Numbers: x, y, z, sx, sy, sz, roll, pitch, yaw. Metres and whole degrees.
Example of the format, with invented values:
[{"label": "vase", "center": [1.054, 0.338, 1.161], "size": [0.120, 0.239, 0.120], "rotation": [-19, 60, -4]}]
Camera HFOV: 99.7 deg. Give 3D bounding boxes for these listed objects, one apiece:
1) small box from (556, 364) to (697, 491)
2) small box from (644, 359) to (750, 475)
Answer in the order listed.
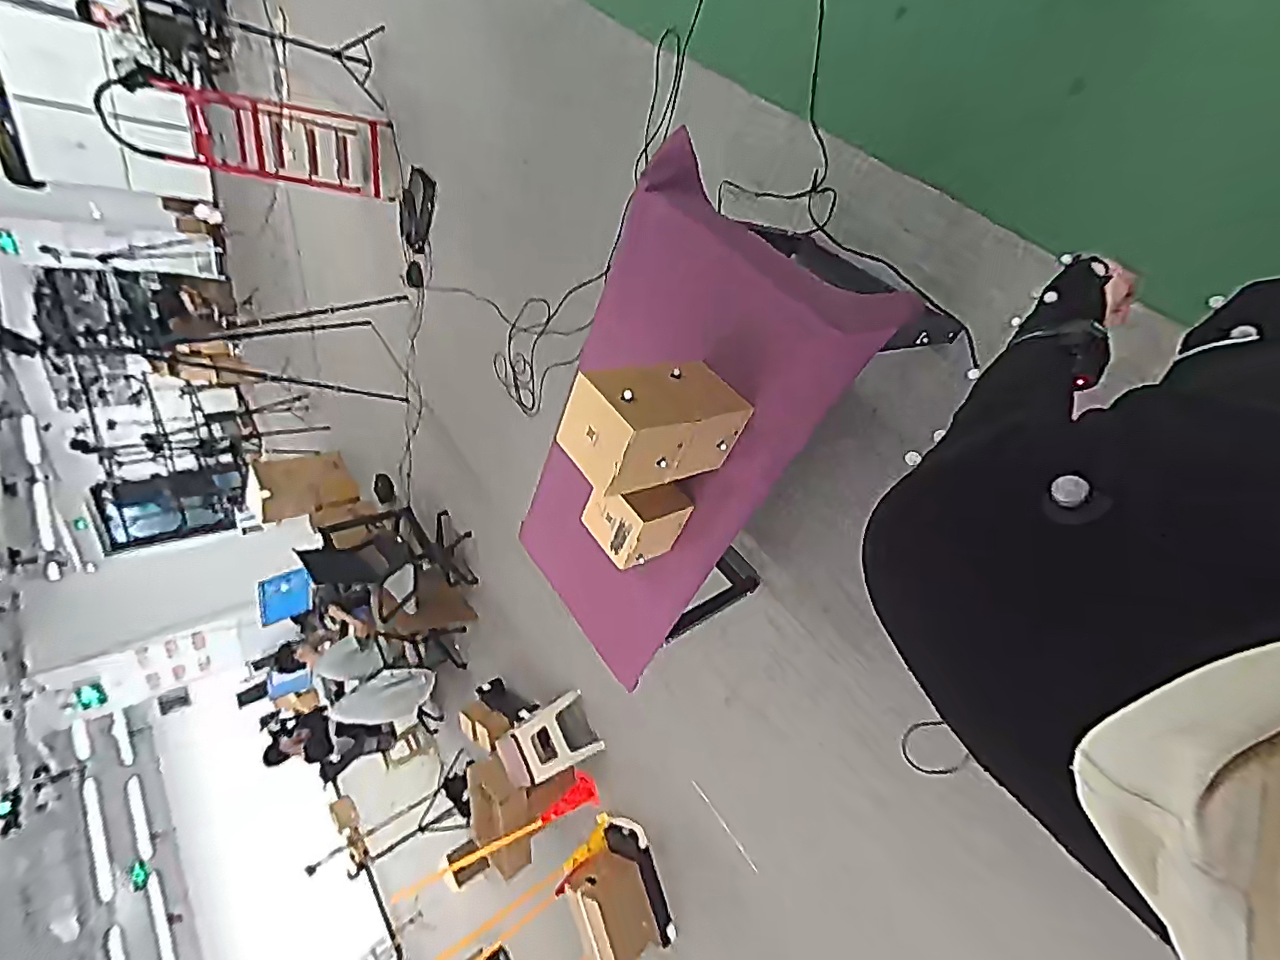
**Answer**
[{"label": "small box", "center": [-0.027, -0.106, 1.025], "size": [0.179, 0.176, 0.168], "rotation": [48, 132, 26]}, {"label": "small box", "center": [0.093, -0.137, 1.130], "size": [0.179, 0.176, 0.168], "rotation": [49, 133, 26]}]
